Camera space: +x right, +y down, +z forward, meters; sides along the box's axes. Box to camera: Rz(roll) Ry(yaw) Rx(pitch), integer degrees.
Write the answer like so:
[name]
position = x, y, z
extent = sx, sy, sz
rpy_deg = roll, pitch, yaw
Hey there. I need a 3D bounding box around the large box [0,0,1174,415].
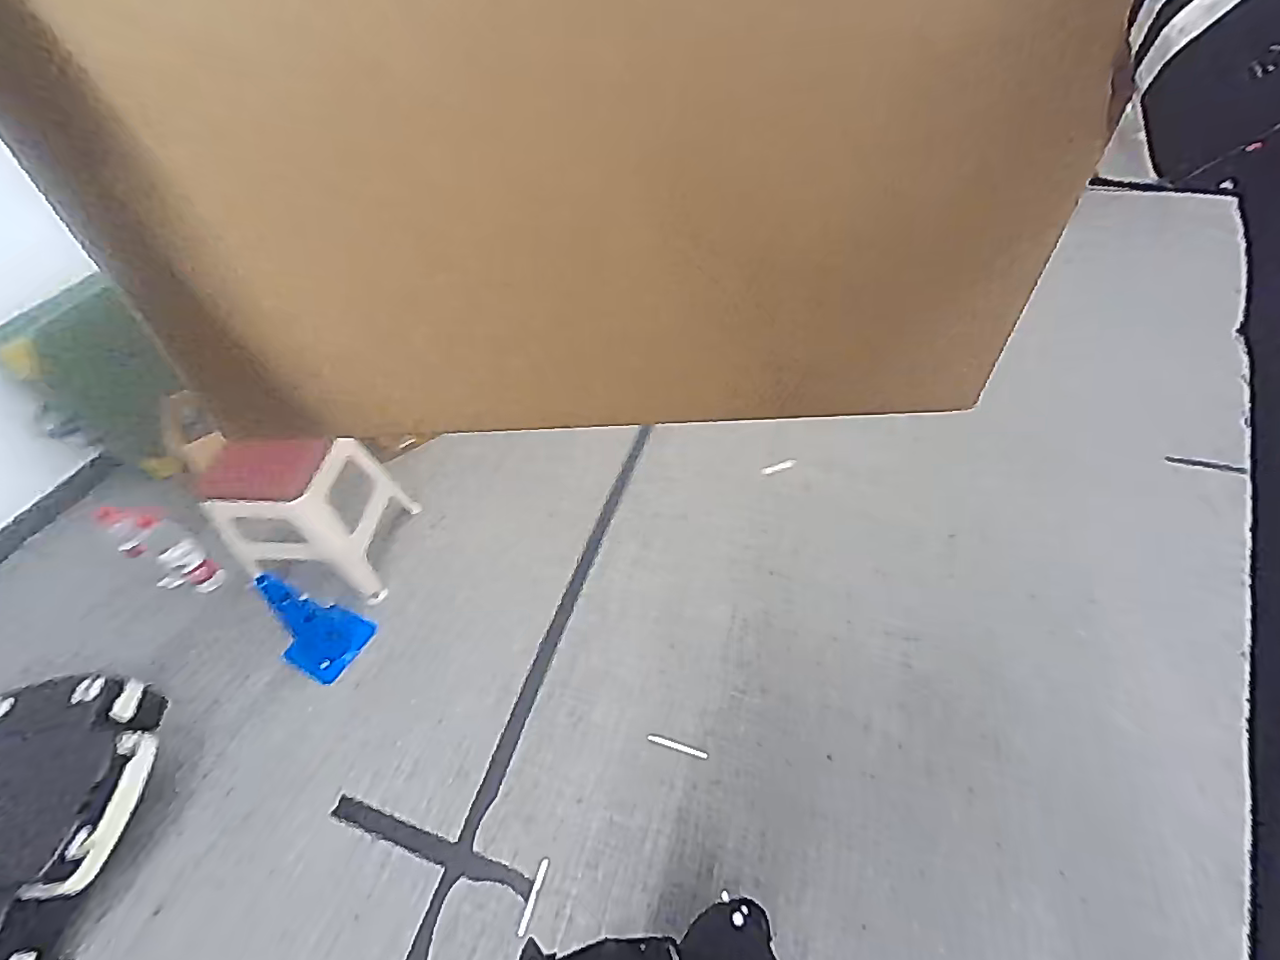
[large box]
position = -0.018, -0.250, 0.298
extent = 0.408, 0.320, 0.320
rpy_deg = -1, 45, -1
